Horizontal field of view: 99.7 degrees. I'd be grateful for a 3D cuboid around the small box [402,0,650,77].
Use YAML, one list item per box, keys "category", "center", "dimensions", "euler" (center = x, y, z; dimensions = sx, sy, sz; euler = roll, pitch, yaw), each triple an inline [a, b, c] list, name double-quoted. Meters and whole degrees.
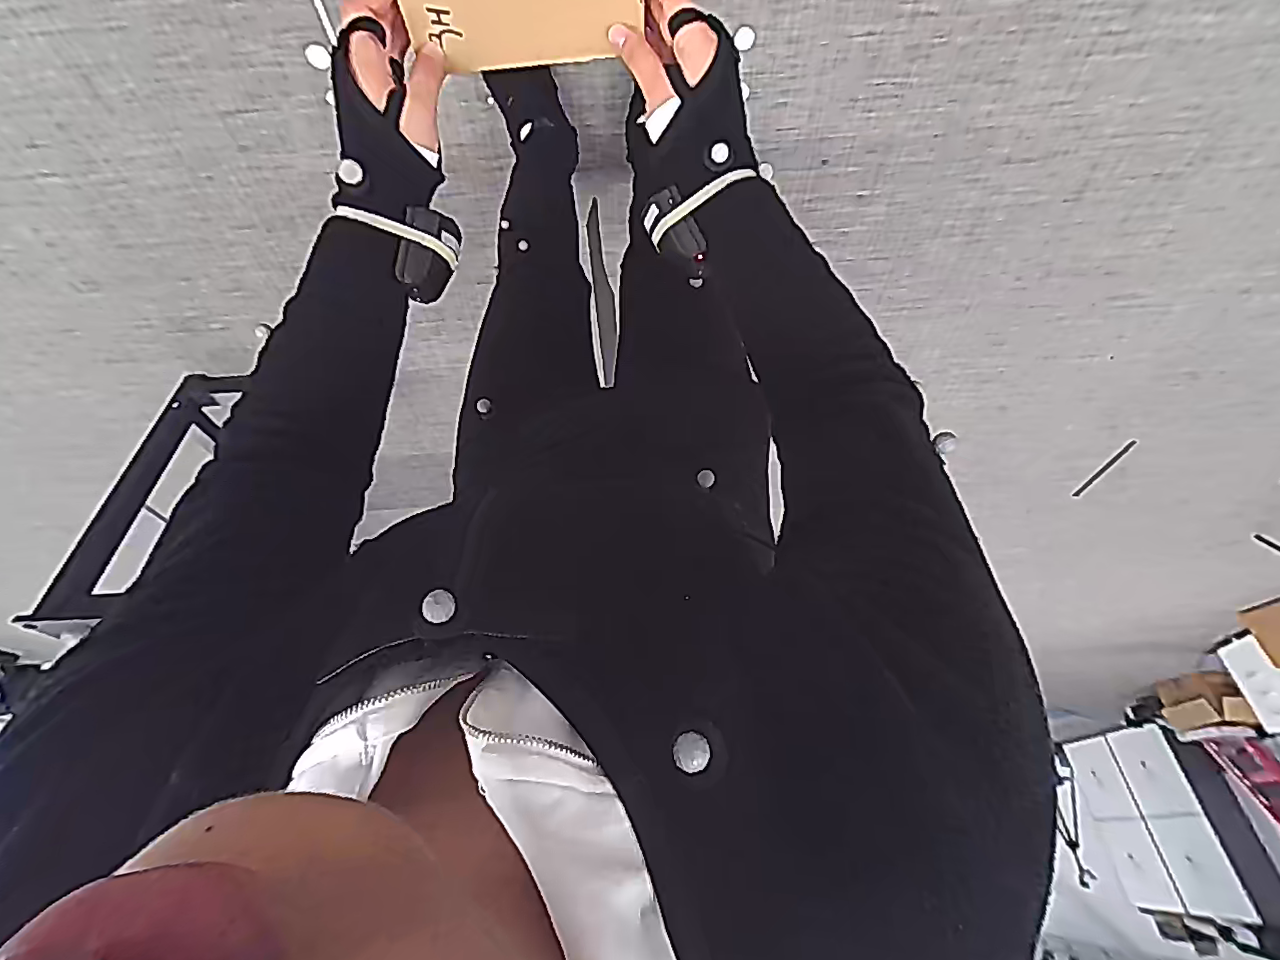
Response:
- category: "small box"
  center: [-0.089, -0.429, 0.393]
  dimensions: [0.179, 0.176, 0.168]
  euler: [-5, 147, 0]
